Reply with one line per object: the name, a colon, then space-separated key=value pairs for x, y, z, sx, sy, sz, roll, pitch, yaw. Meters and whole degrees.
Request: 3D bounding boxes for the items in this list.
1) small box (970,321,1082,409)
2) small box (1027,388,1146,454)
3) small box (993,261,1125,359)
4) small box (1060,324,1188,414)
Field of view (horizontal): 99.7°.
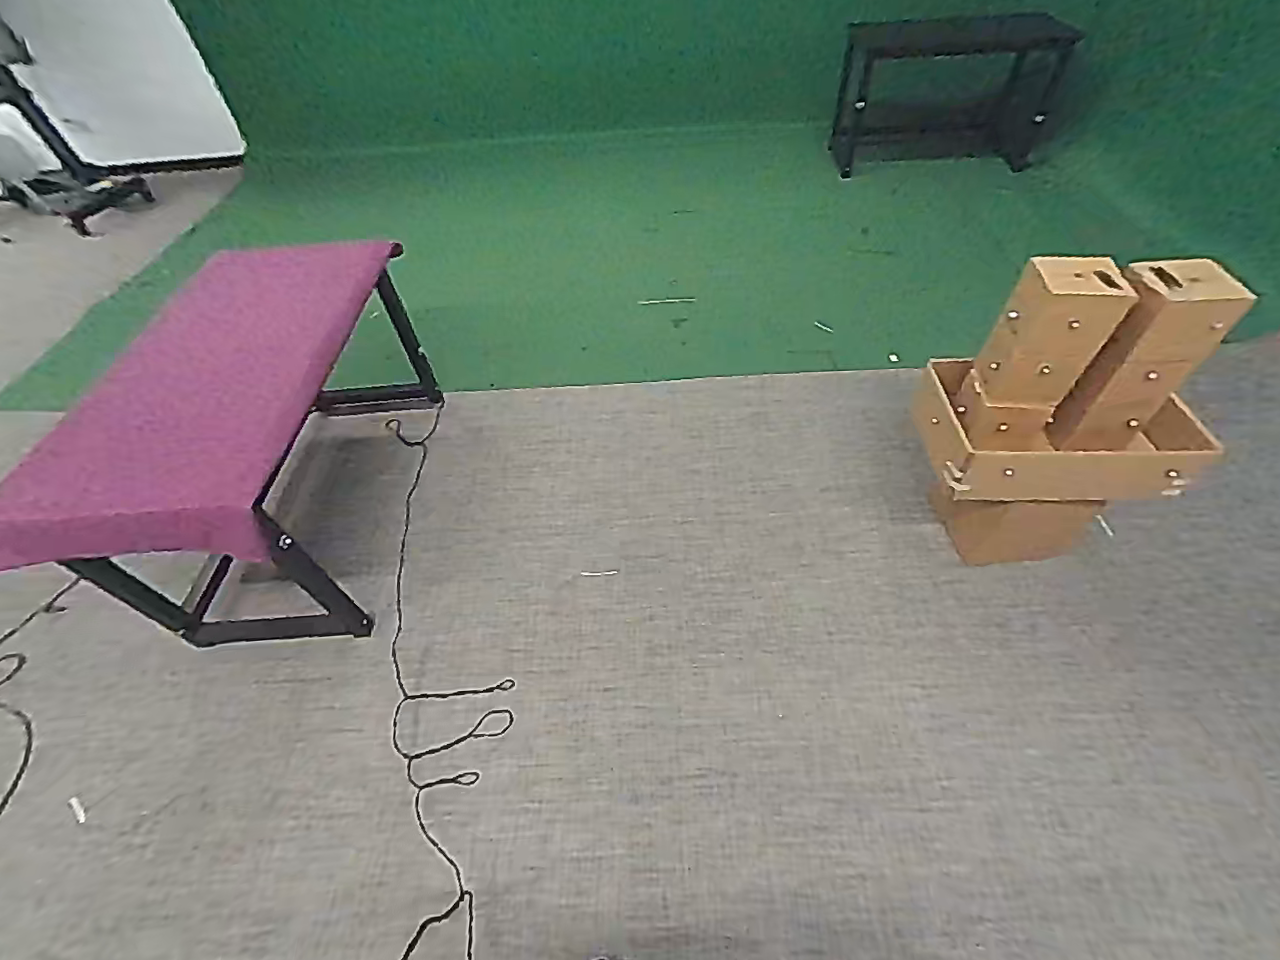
small box: x=1.018 y=-0.307 z=1.450 sx=0.179 sy=0.176 sz=0.168 roll=6 pitch=51 yaw=7
small box: x=1.264 y=-0.186 z=1.546 sx=0.179 sy=0.176 sz=0.168 roll=-1 pitch=50 yaw=4
small box: x=1.013 y=-0.412 z=1.324 sx=0.179 sy=0.176 sz=0.168 roll=5 pitch=51 yaw=7
small box: x=1.250 y=-0.289 z=1.423 sx=0.179 sy=0.176 sz=0.168 roll=-3 pitch=51 yaw=5
